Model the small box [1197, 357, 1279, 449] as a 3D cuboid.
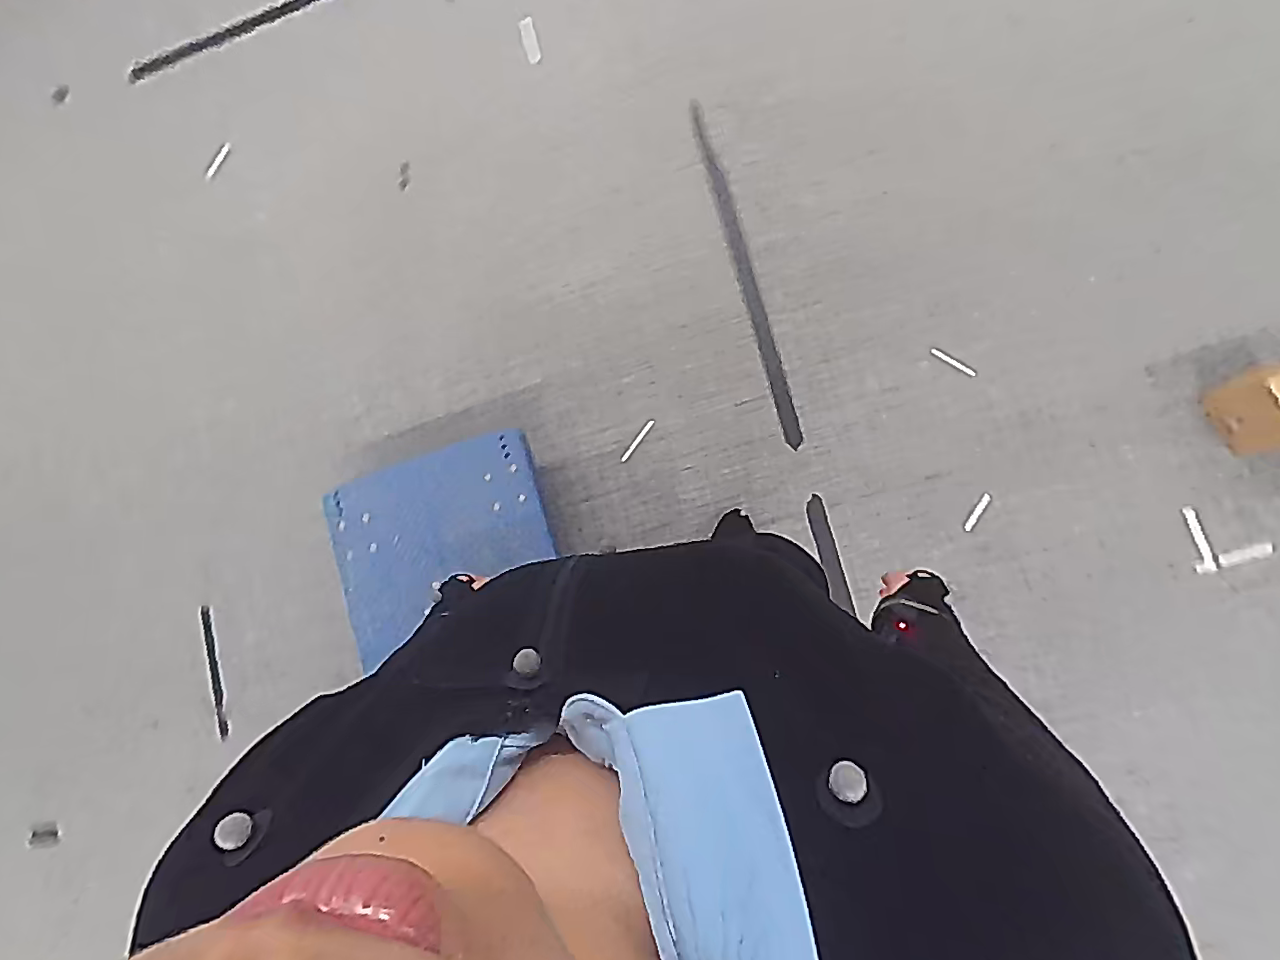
[{"bbox_3d":[1.481,-0.187,1.252,0.179,0.176,0.168,-29,83,5],"label":"small box"}]
